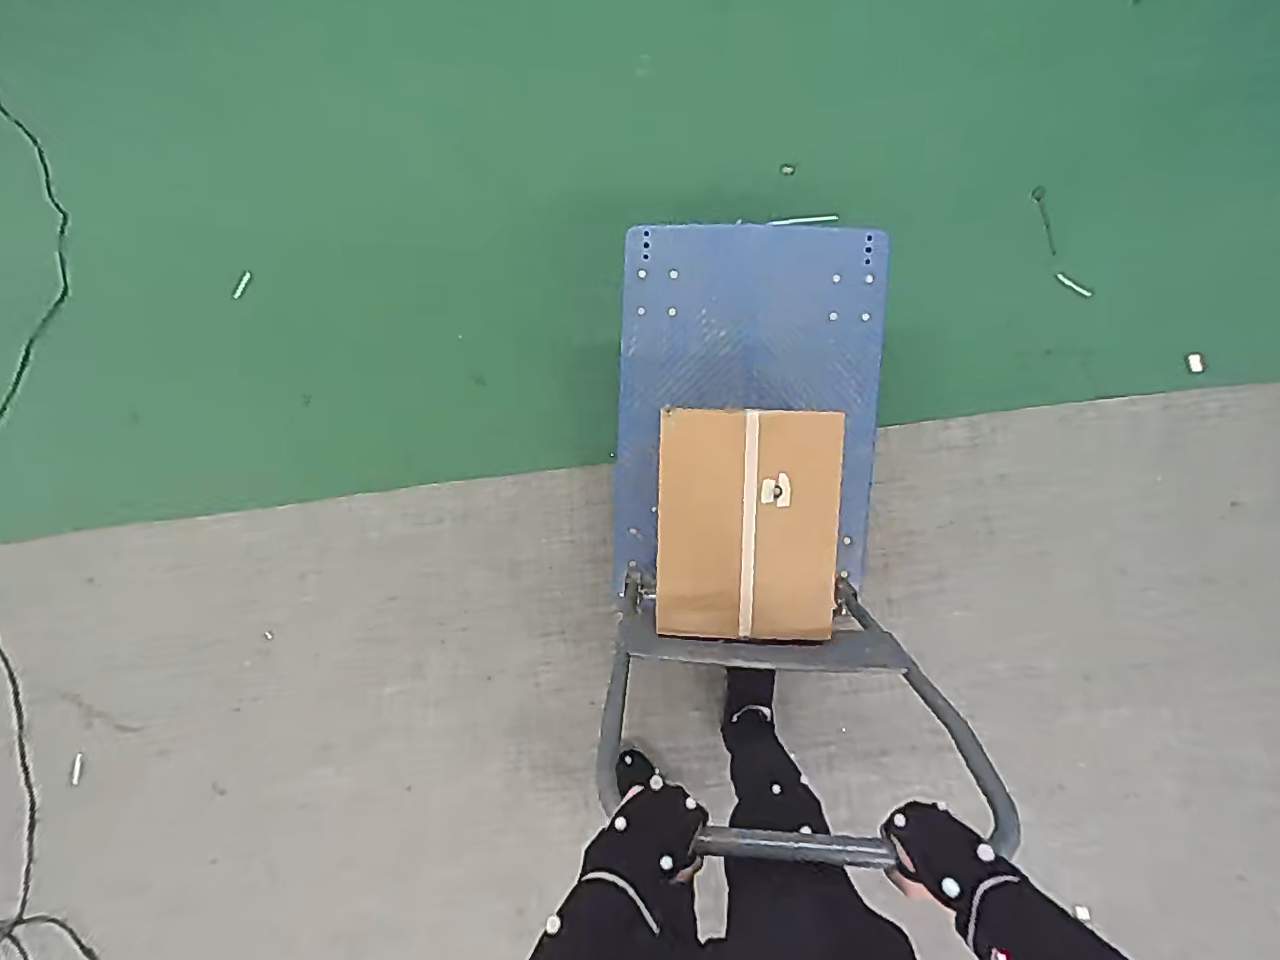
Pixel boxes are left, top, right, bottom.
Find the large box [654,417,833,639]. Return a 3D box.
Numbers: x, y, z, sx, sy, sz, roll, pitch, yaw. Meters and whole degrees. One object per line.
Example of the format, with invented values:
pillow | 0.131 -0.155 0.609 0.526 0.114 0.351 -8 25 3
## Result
large box | 0.194 0.077 1.115 0.320 0.320 0.408 1 95 3
